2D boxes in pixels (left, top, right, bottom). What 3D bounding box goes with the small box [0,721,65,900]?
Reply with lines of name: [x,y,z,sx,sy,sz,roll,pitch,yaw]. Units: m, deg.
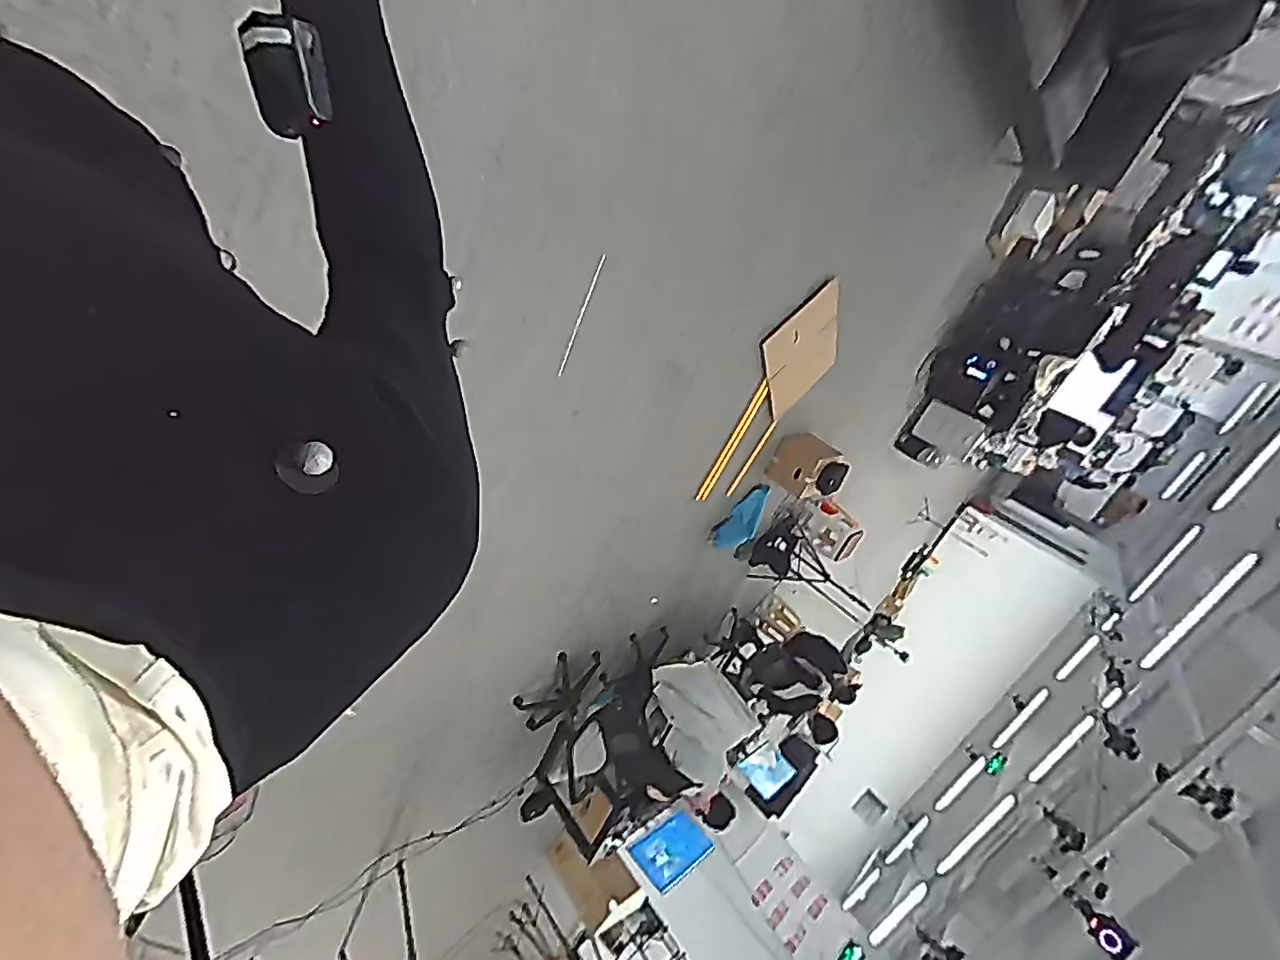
small box: [-0.951,0.490,0.777,0.168,0.176,0.179,-6,127,-48]
